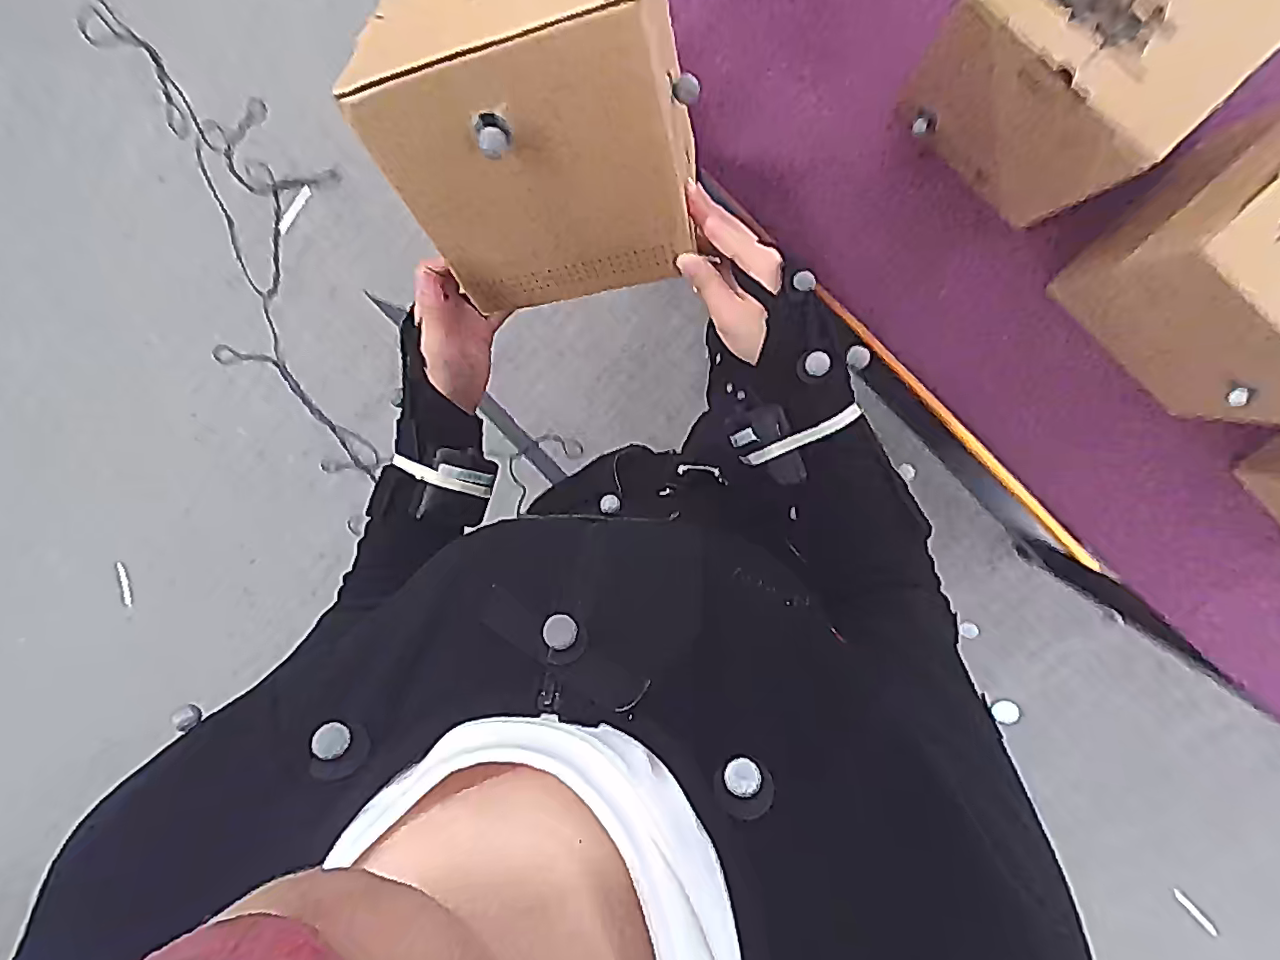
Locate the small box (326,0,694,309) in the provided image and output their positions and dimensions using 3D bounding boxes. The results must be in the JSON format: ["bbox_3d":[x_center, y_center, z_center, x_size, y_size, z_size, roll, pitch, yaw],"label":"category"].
[{"bbox_3d":[-0.060,-0.246,0.368,0.179,0.176,0.168,-7,61,15],"label":"small box"}]
